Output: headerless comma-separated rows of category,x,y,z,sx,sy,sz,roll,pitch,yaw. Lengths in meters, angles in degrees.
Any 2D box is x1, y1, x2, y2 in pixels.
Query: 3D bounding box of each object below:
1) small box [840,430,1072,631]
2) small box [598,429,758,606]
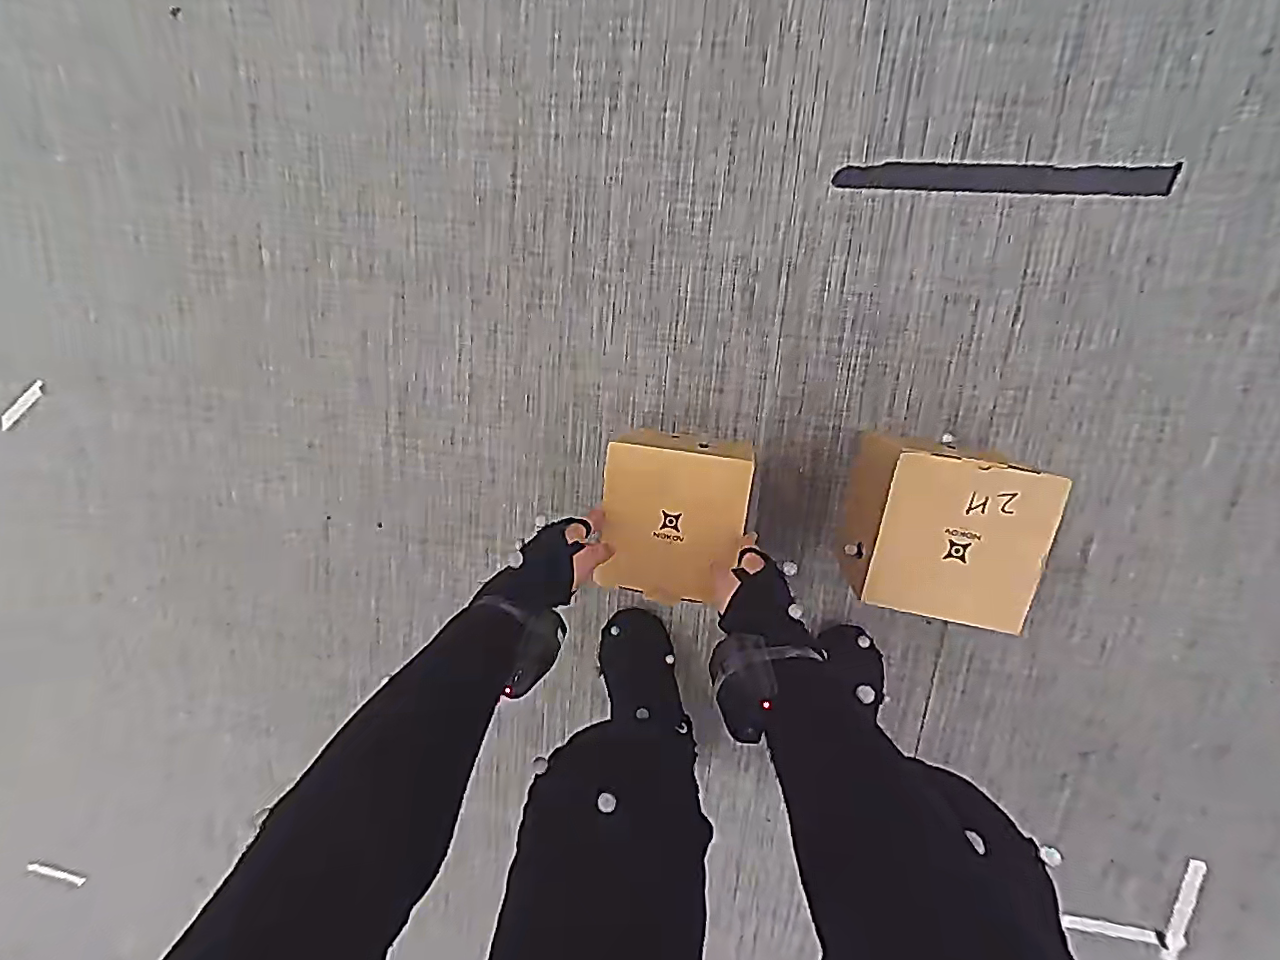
small box,0.346,0.046,0.635,0.168,0.176,0.179,11,102,7
small box,0.052,0.034,0.688,0.168,0.176,0.179,8,102,9
